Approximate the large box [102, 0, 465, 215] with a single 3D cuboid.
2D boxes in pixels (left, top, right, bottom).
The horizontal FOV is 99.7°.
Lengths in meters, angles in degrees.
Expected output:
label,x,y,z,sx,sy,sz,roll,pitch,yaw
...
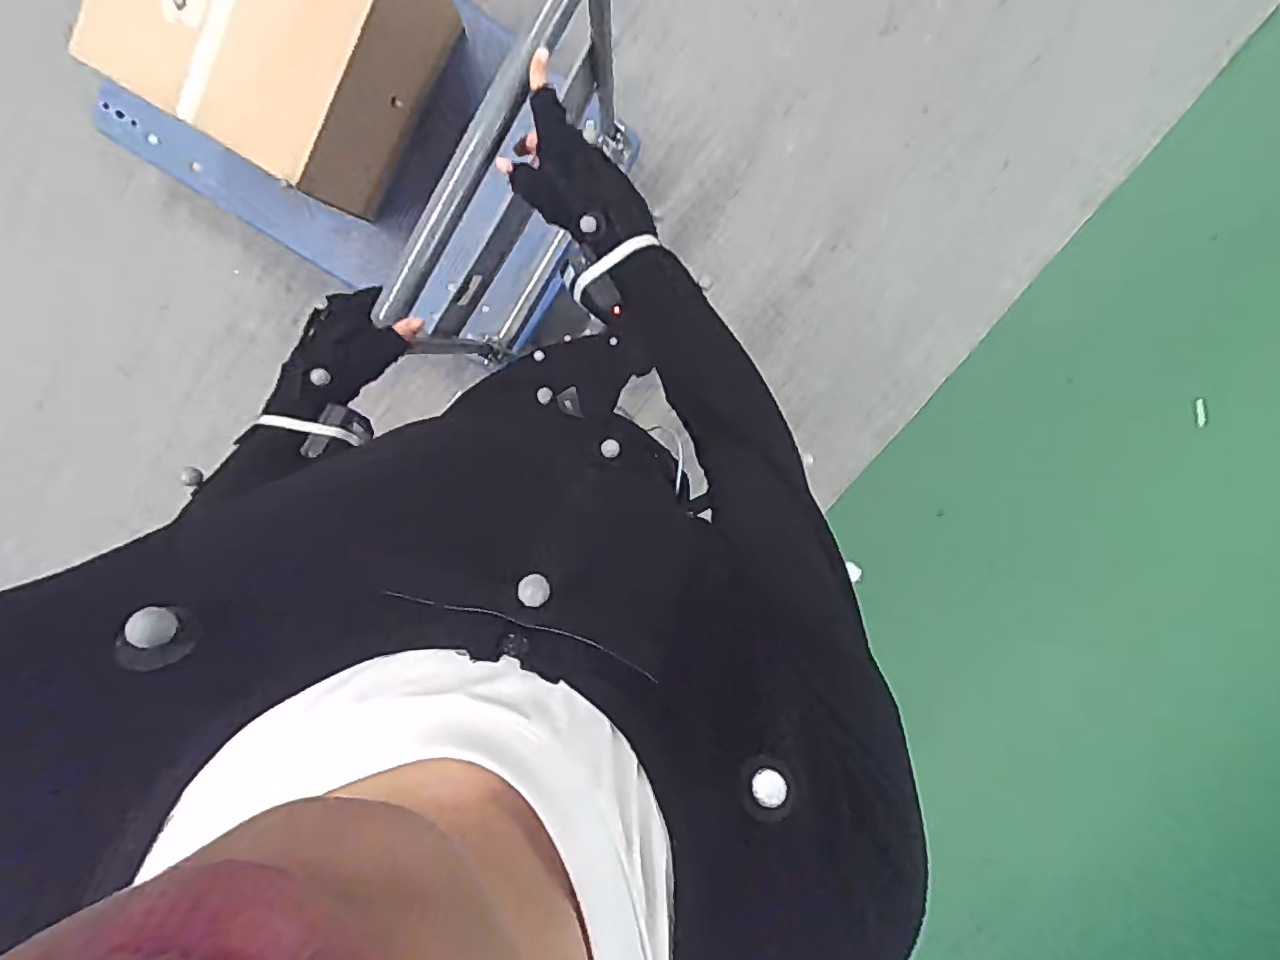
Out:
label,x,y,z,sx,sy,sz,roll,pitch,yaw
large box,-0.531,-0.720,0.876,0.320,0.320,0.408,28,103,-12
